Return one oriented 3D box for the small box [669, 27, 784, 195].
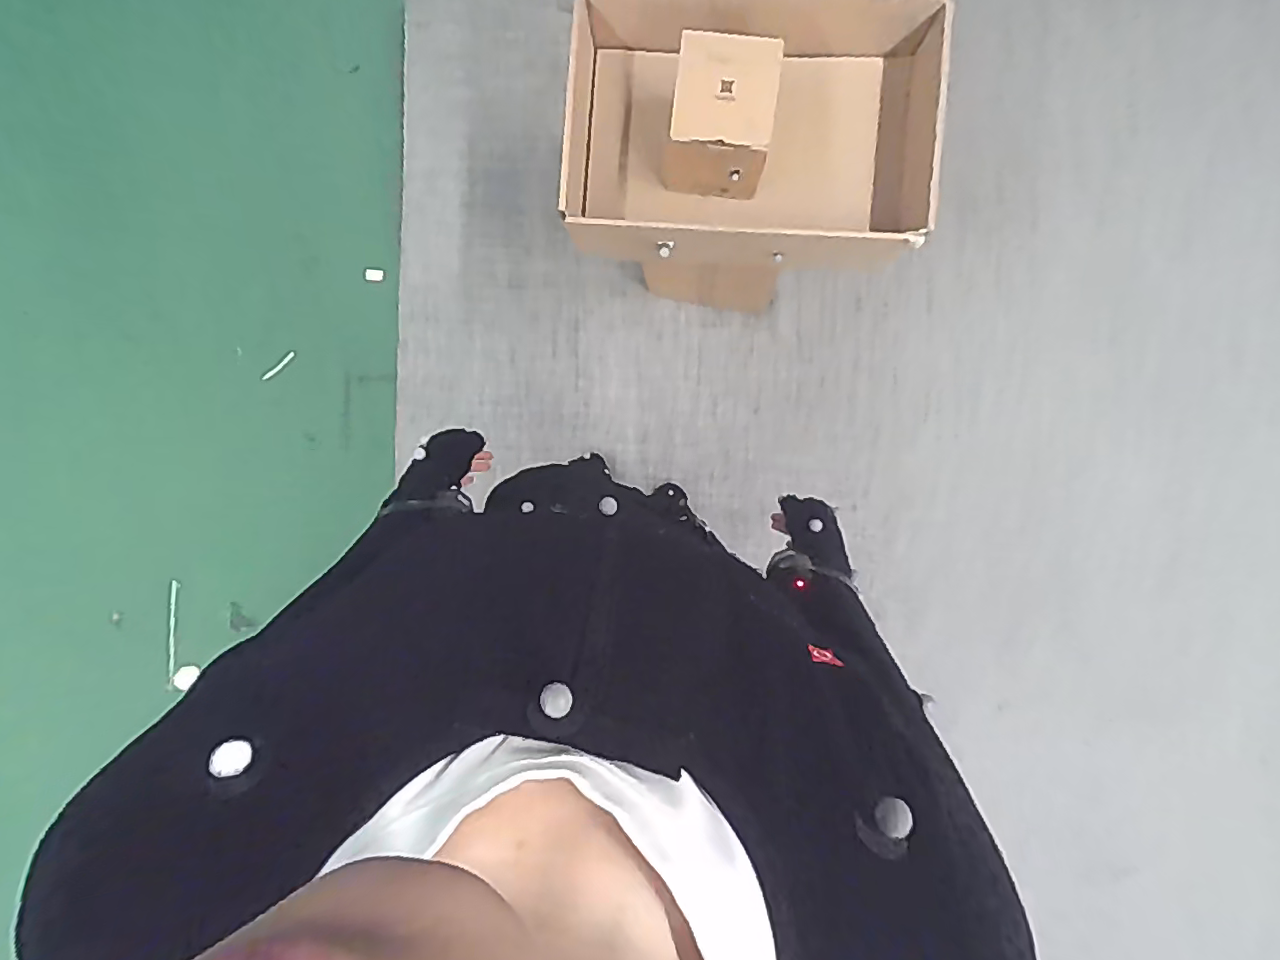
[{"bbox_3d":[0.141,-0.627,0.941,0.168,0.176,0.179,7,90,1],"label":"small box"}]
